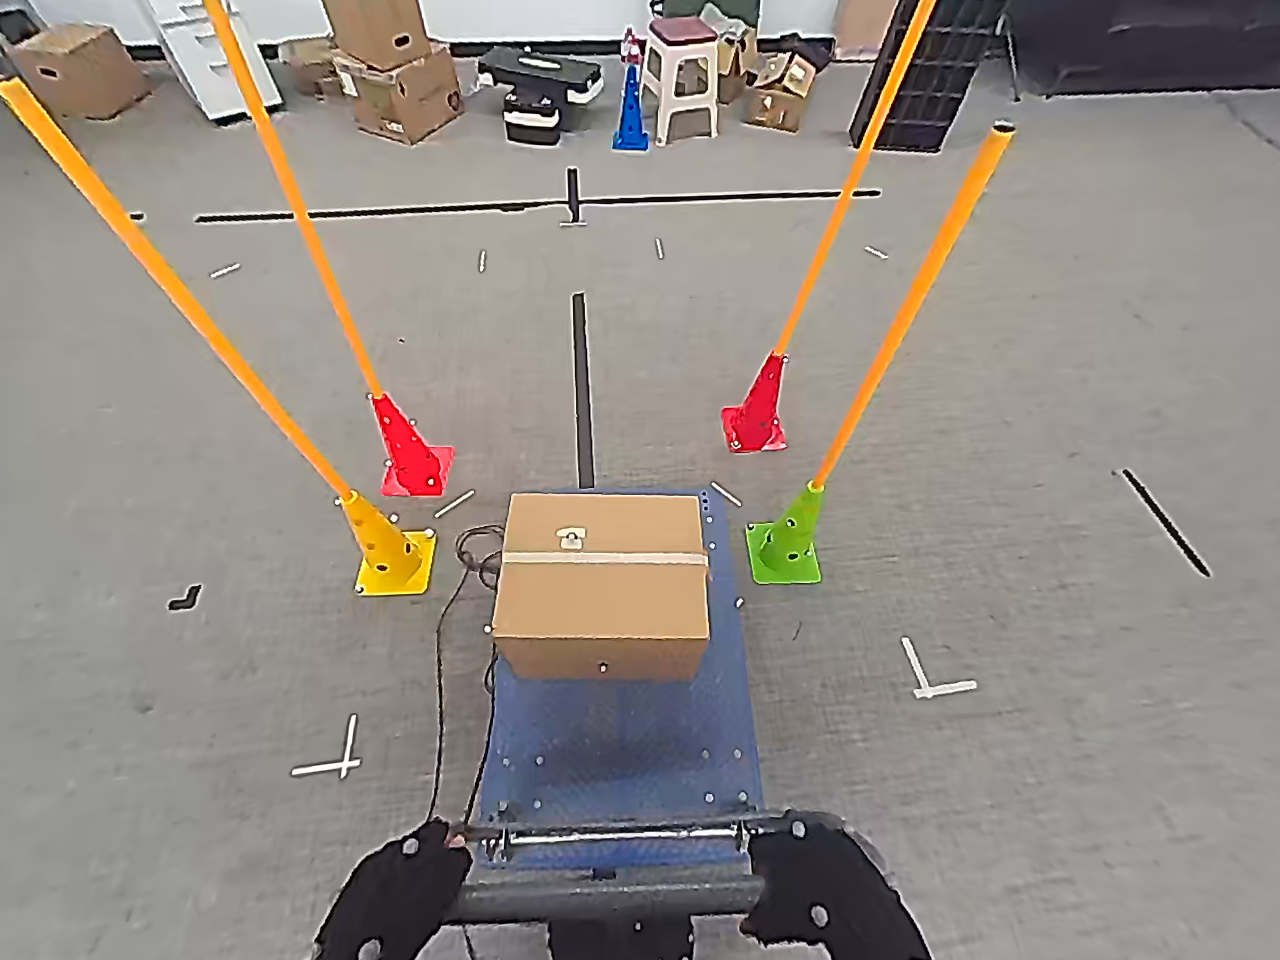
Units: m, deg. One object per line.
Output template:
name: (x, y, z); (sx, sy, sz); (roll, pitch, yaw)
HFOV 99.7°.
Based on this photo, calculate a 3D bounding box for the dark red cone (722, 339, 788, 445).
dark red cone: (0.405, -0.291, 1.747); (0.201, 0.394, 0.202); (-3, 56, -6)

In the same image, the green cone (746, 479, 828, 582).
green cone: (0.434, 0.118, 1.488); (0.202, 0.368, 0.200); (0, 55, -3)

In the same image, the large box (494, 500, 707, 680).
large box: (-0.074, 0.254, 1.206); (0.408, 0.320, 0.320); (0, 56, -1)

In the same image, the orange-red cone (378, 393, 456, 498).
orange-red cone: (-0.710, -0.127, 1.627); (0.198, 0.360, 0.199); (3, 54, -1)
